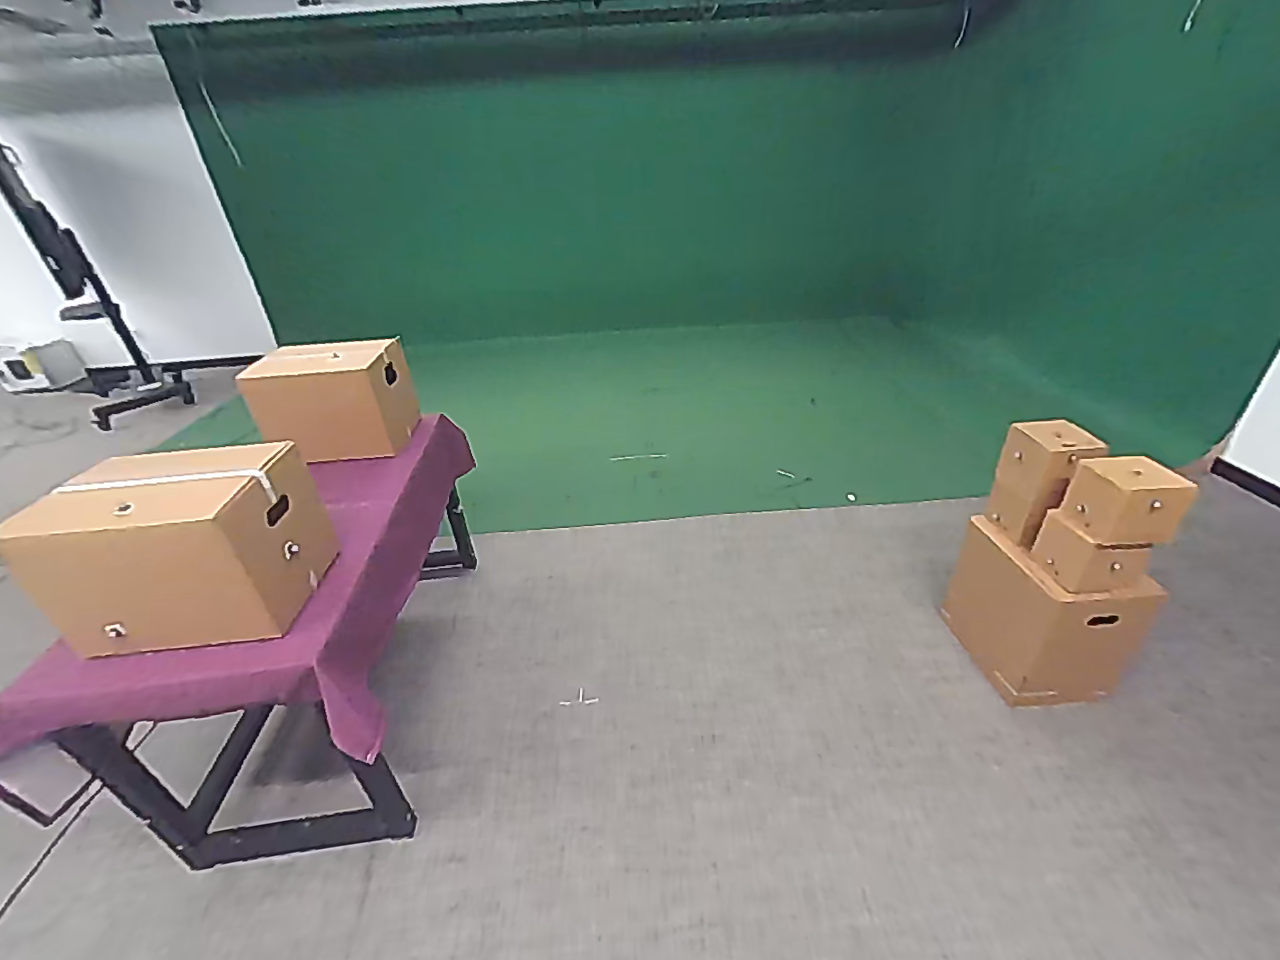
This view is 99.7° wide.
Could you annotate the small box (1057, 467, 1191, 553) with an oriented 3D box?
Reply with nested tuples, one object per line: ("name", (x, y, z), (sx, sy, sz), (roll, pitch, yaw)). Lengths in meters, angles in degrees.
("small box", (1.254, 0.079, 1.419), (0.179, 0.176, 0.168), (-2, 29, 1))

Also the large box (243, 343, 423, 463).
("large box", (-1.019, -0.271, 1.855), (0.408, 0.320, 0.320), (-3, 31, -2))
